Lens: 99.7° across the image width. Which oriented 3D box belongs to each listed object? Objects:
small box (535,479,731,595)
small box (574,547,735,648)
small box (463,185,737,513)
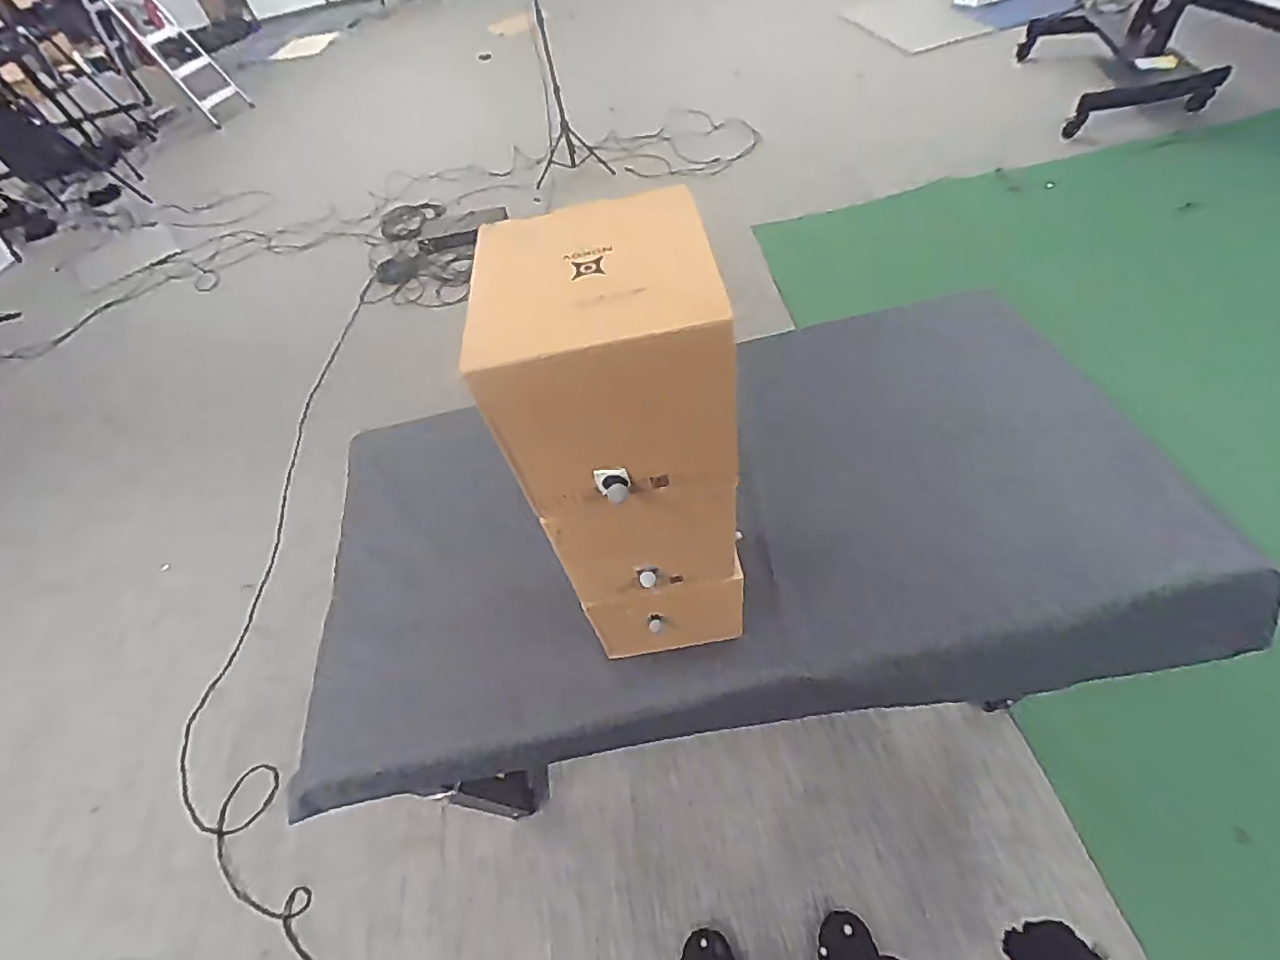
[{"bbox_3d":[-0.005,-0.003,0.560,0.168,0.176,0.179,-9,53,2],"label":"small box"},{"bbox_3d":[0.019,0.100,0.686,0.179,0.176,0.168,-10,53,2],"label":"small box"},{"bbox_3d":[-0.022,-0.098,0.430,0.168,0.176,0.179,-10,53,3],"label":"small box"}]
